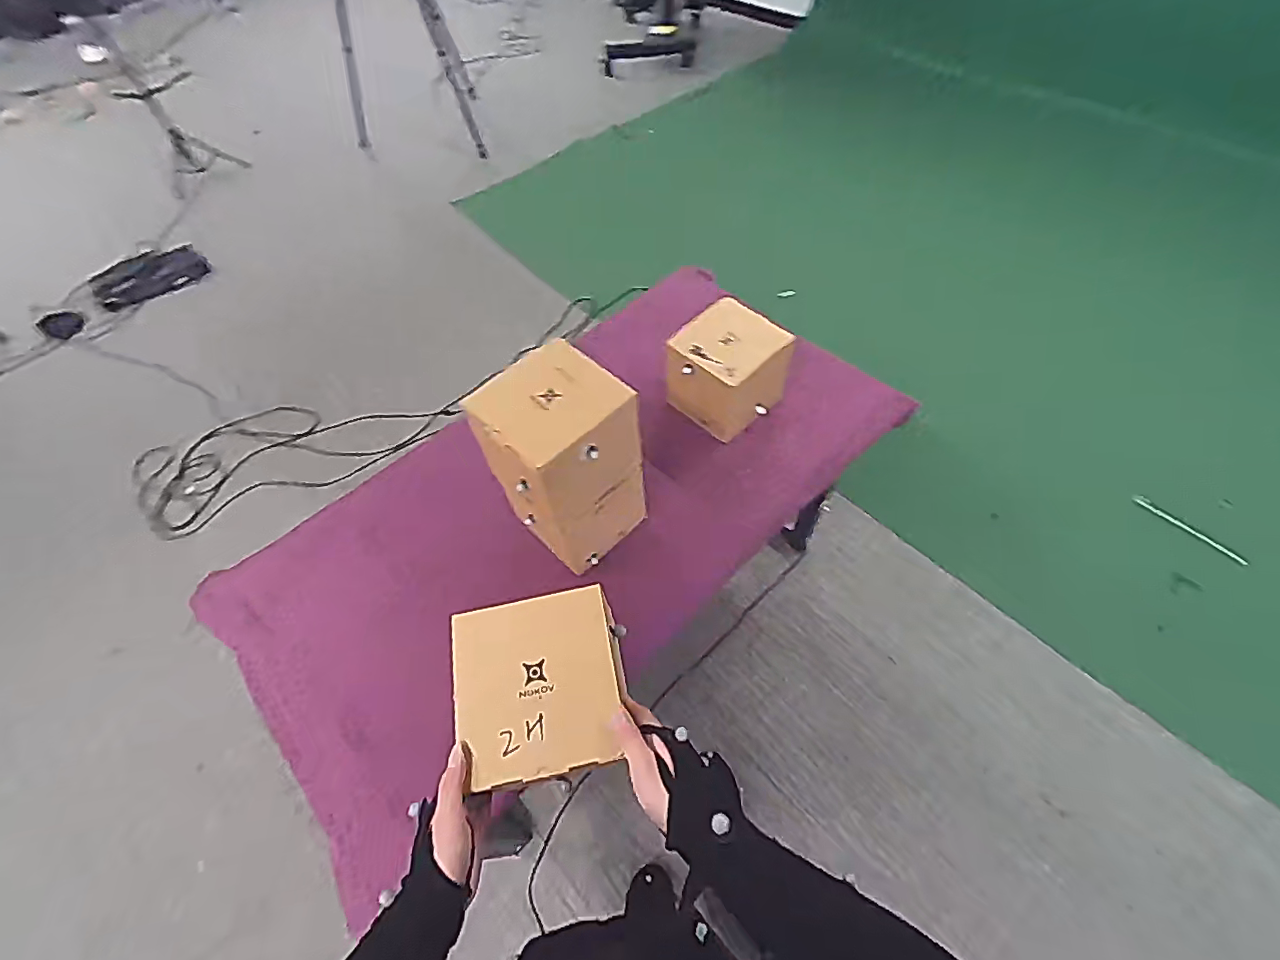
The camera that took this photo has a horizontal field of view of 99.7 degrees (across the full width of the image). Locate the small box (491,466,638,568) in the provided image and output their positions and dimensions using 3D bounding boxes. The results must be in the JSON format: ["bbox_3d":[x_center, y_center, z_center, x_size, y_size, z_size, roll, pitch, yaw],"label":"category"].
[{"bbox_3d":[-0.117,0.027,0.917,0.179,0.176,0.168,39,66,25],"label":"small box"}]

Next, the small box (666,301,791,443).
[{"bbox_3d":[0.164,-0.207,1.056,0.179,0.176,0.168,-40,63,-21],"label":"small box"}]

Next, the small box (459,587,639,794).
[{"bbox_3d":[-0.096,0.242,0.612,0.168,0.176,0.179,-11,62,-3],"label":"small box"}]

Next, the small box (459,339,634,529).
[{"bbox_3d":[-0.121,-0.061,0.779,0.168,0.176,0.179,39,66,24],"label":"small box"}]
